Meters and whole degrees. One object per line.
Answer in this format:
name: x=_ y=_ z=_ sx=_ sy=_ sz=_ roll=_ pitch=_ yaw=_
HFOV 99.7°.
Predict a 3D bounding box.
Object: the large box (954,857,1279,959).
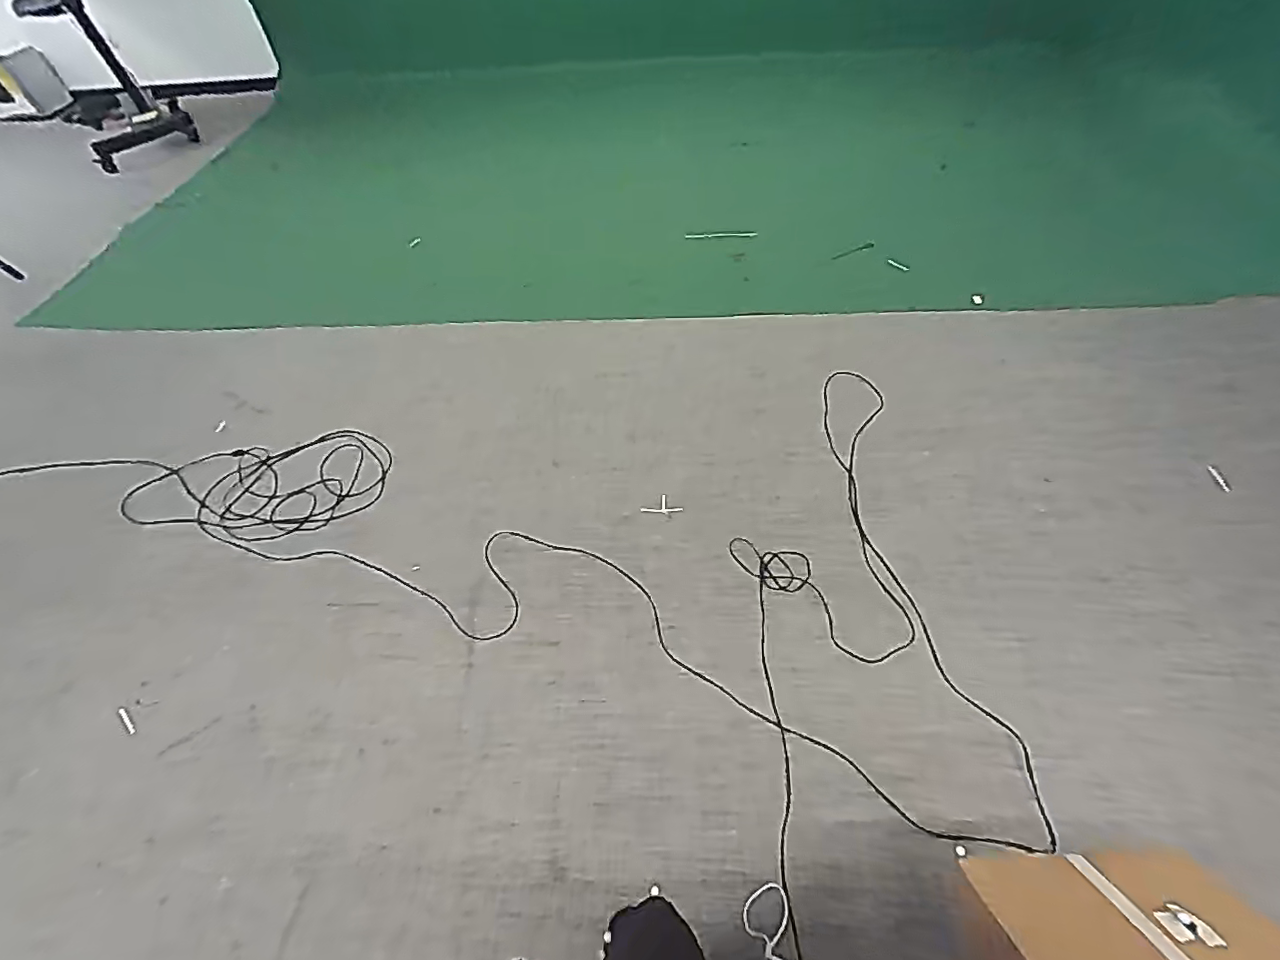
large box: x=0.612 y=0.700 z=0.585 sx=0.320 sy=0.408 sz=0.320 roll=-5 pitch=87 yaw=6
